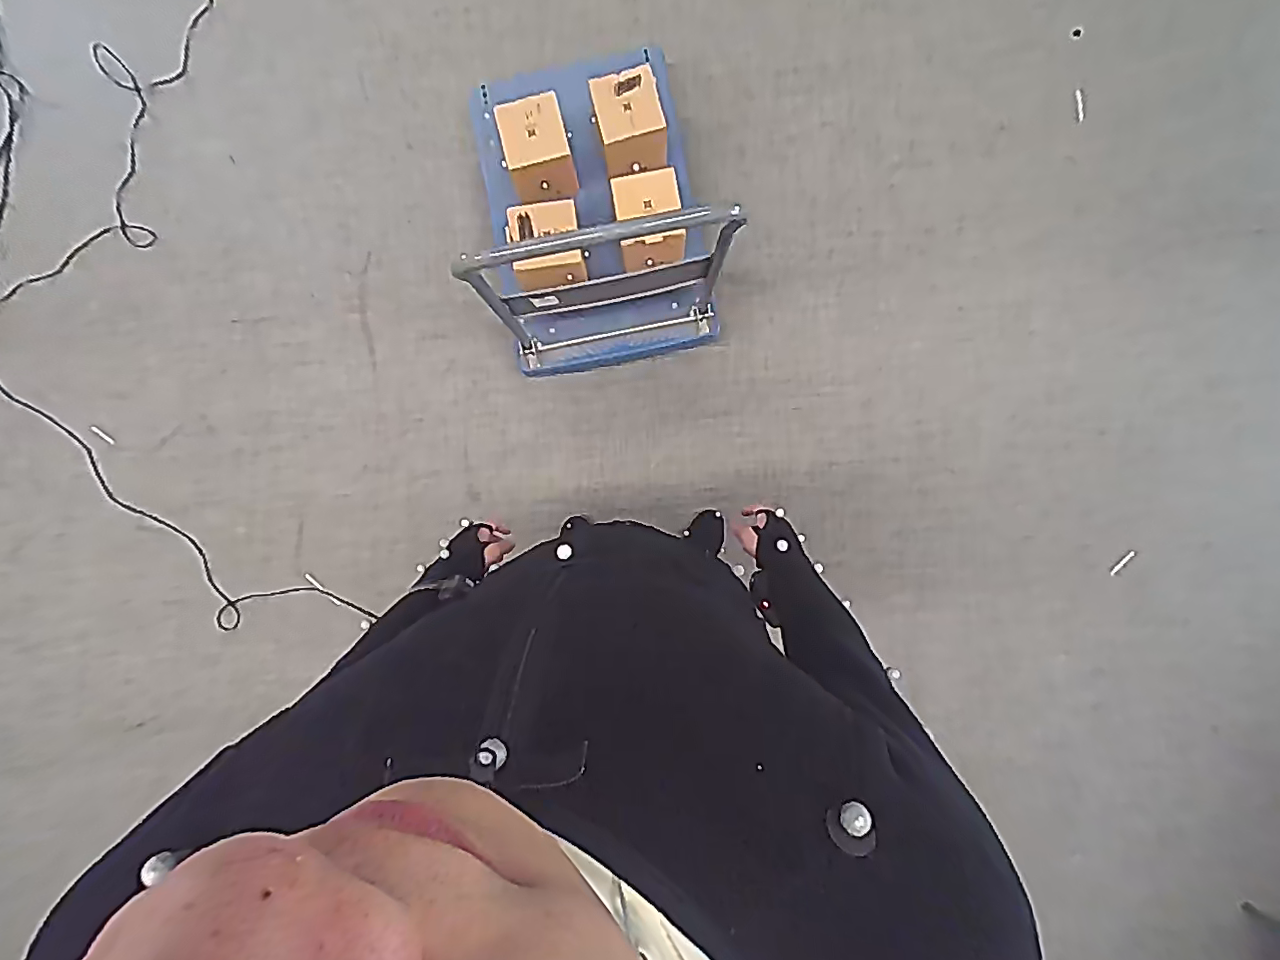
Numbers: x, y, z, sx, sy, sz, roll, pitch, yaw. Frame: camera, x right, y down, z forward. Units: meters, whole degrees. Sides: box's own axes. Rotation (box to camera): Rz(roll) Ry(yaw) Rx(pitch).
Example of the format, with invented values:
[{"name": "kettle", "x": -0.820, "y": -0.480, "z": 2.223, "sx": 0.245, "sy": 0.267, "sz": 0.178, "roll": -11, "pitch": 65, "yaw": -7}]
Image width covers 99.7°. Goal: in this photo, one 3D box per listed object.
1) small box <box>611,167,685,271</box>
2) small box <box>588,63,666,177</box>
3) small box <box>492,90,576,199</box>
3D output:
[{"name": "small box", "x": 0.019, "y": -0.683, "z": 1.430, "sx": 0.168, "sy": 0.176, "sz": 0.179, "roll": -10, "pitch": 88, "yaw": 1}, {"name": "small box", "x": -0.032, "y": -0.949, "z": 1.441, "sx": 0.168, "sy": 0.176, "sz": 0.179, "roll": -14, "pitch": 88, "yaw": 2}, {"name": "small box", "x": -0.276, "y": -0.883, "z": 1.446, "sx": 0.168, "sy": 0.176, "sz": 0.179, "roll": -14, "pitch": 87, "yaw": 0}]
